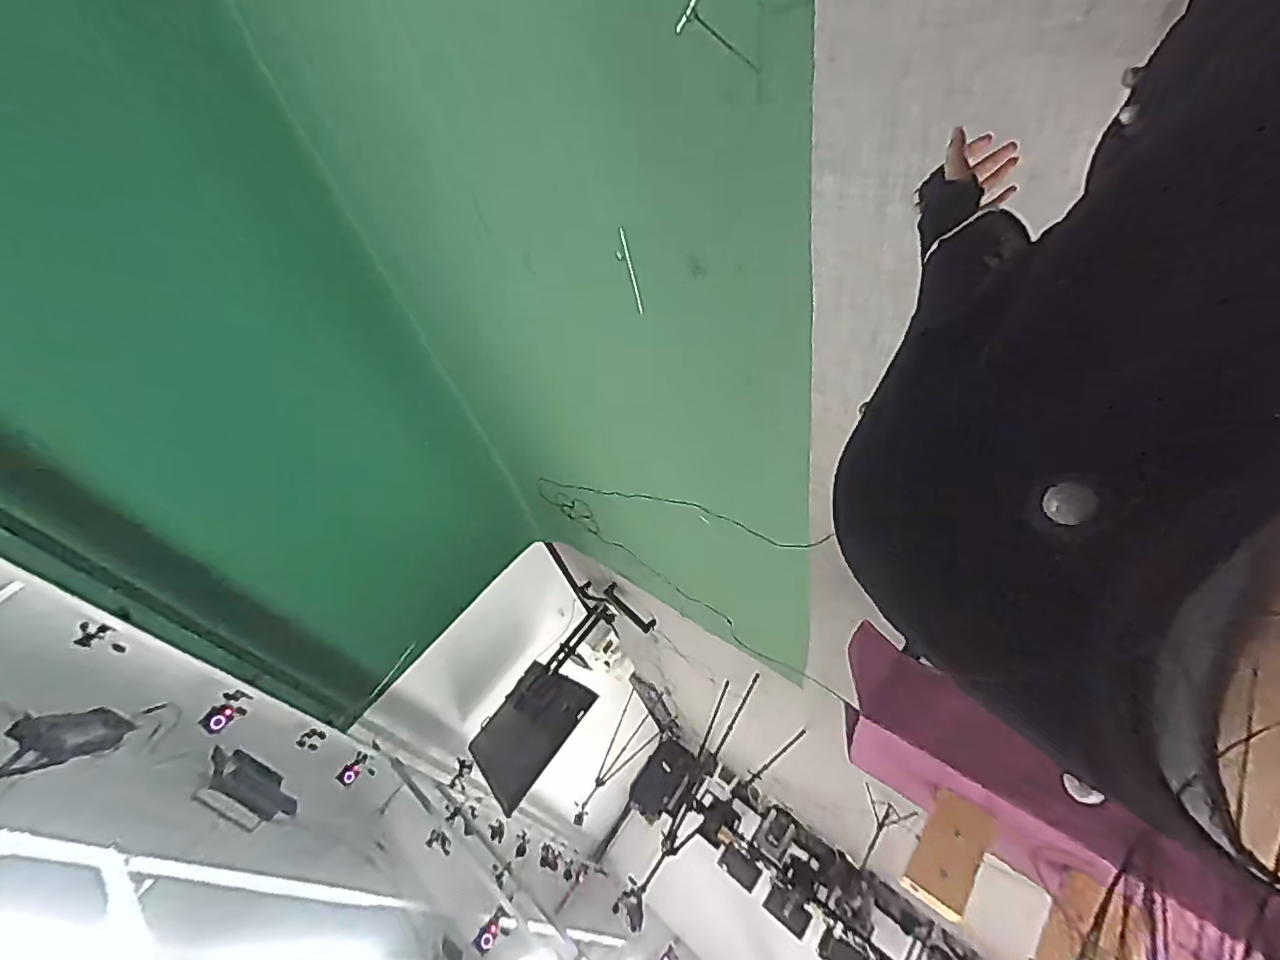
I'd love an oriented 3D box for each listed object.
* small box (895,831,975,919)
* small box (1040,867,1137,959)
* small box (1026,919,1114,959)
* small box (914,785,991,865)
[{"bbox_3d":[0.984,1.310,1.806,0.179,0.176,0.168,24,149,33],"label":"small box"},{"bbox_3d":[1.383,1.343,1.667,0.179,0.176,0.168,25,150,35],"label":"small box"},{"bbox_3d":[1.277,1.454,1.605,0.168,0.176,0.179,25,150,34],"label":"small box"},{"bbox_3d":[1.084,1.200,1.875,0.179,0.176,0.168,26,150,33],"label":"small box"}]
